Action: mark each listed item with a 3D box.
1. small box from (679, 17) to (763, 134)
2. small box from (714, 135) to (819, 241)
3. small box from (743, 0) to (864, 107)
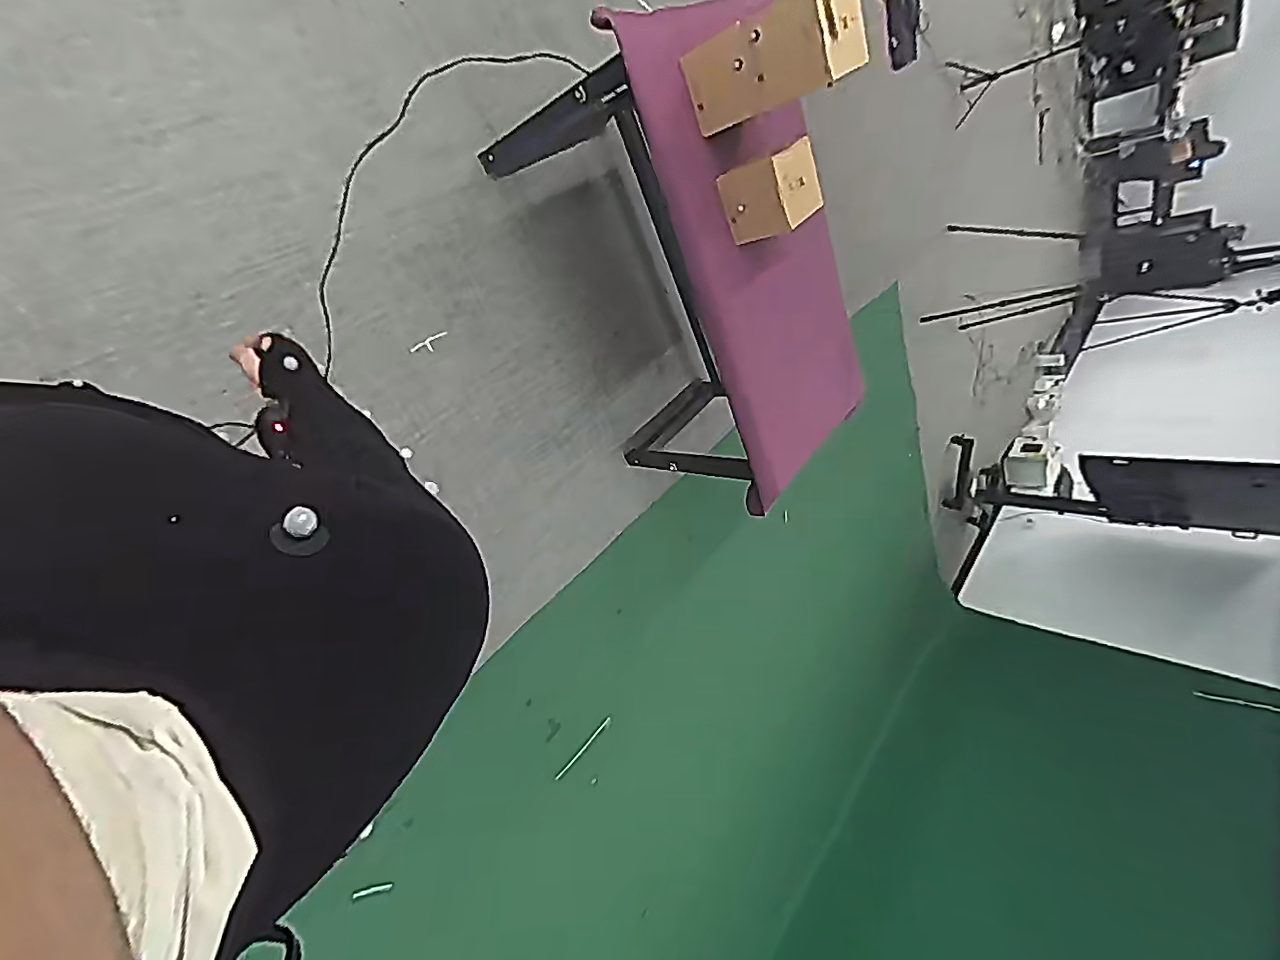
[{"bbox_3d":[0.218,-0.921,1.227,0.179,0.176,0.168,-45,124,-30],"label":"small box"},{"bbox_3d":[0.315,-0.723,1.348,0.179,0.176,0.168,-44,123,-29],"label":"small box"},{"bbox_3d":[0.330,-0.901,1.108,0.179,0.176,0.168,-45,124,-30],"label":"small box"}]
